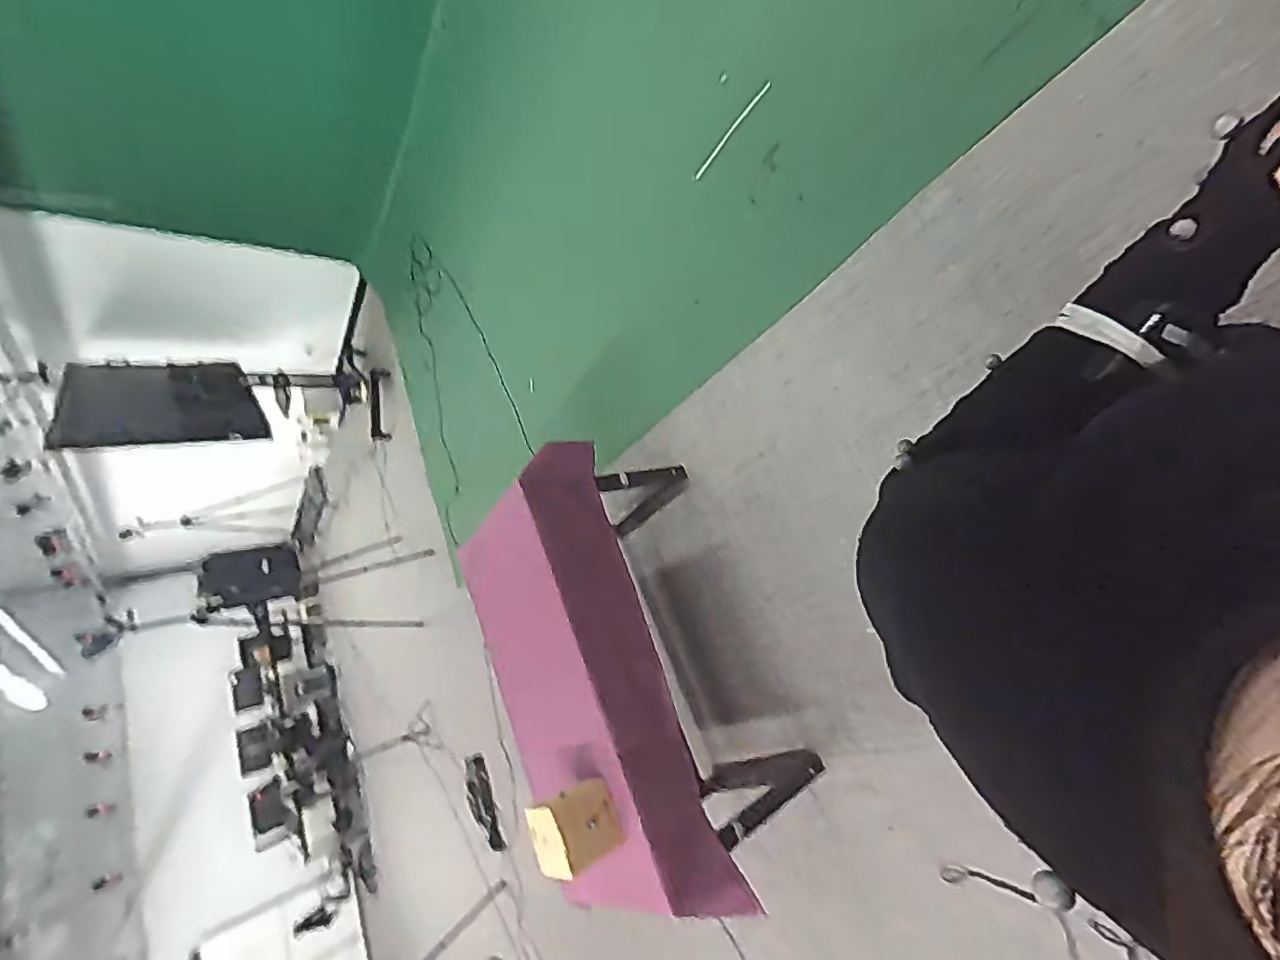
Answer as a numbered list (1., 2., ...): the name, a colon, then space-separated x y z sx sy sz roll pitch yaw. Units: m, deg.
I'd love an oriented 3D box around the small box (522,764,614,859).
1. small box: -0.190 0.891 1.465 0.179 0.176 0.168 -37 68 45
